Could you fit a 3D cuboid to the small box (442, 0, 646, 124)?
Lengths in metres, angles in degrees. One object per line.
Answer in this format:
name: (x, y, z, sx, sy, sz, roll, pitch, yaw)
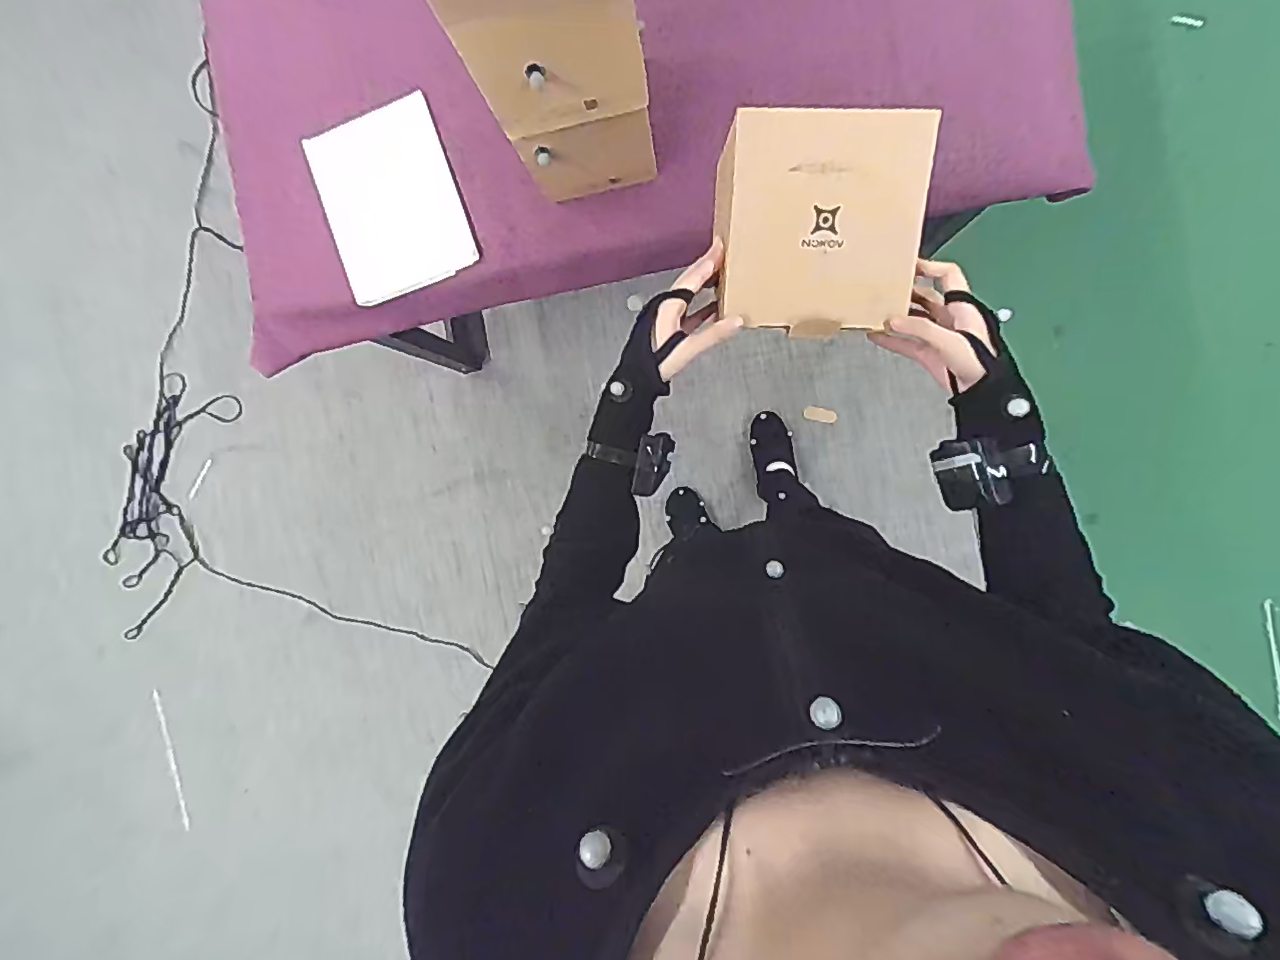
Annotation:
small box: (-0.092, -0.491, 0.536, 0.168, 0.176, 0.179, -9, 90, 7)
